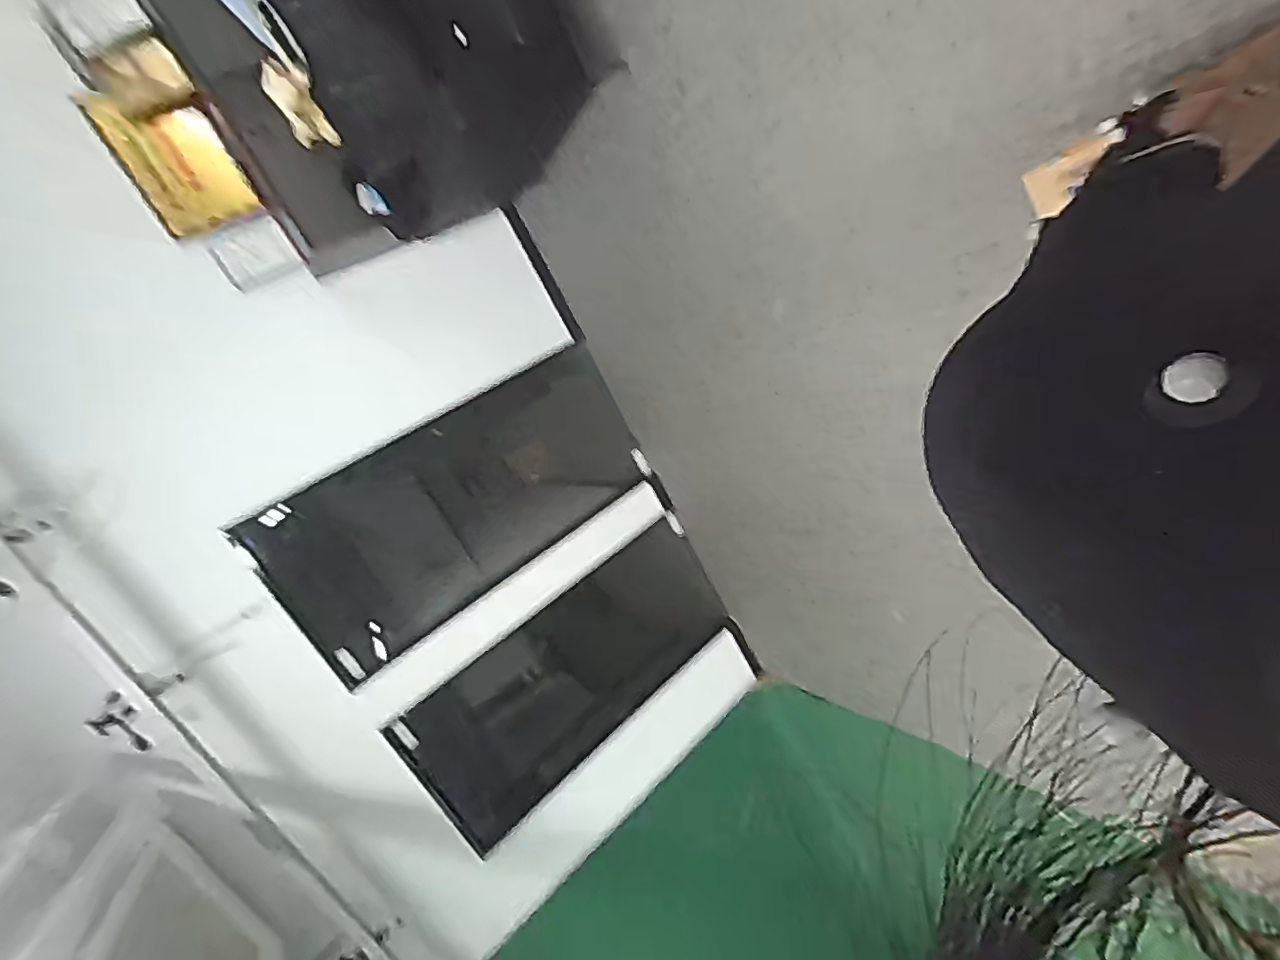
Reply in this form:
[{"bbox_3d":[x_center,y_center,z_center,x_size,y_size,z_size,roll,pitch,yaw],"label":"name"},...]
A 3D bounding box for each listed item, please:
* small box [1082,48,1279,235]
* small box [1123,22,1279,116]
[{"bbox_3d":[0.858,-0.528,0.850,0.168,0.176,0.179,61,158,-10],"label":"small box"},{"bbox_3d":[0.975,-0.623,0.912,0.168,0.176,0.179,61,156,-13],"label":"small box"}]
